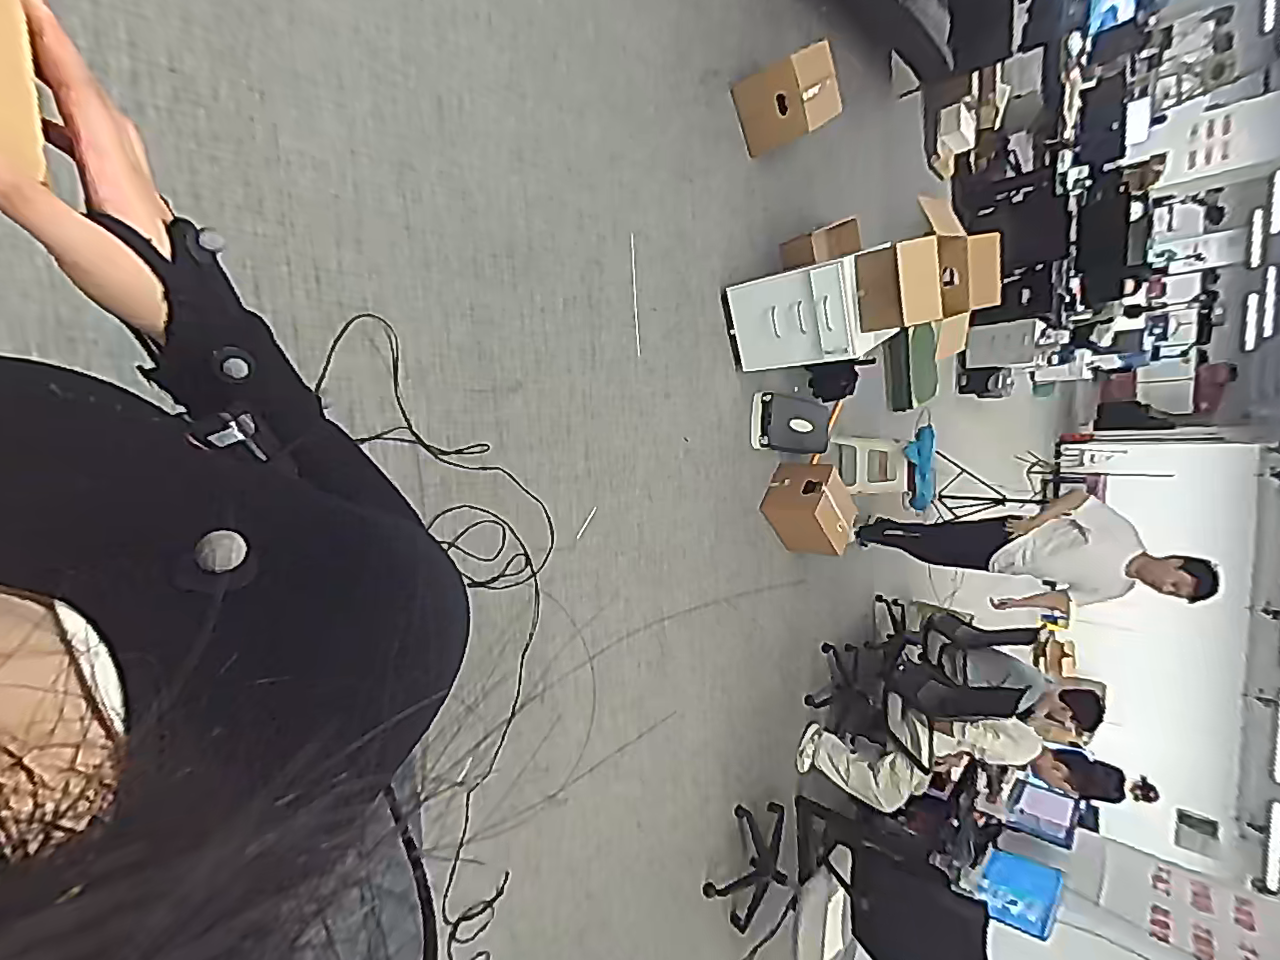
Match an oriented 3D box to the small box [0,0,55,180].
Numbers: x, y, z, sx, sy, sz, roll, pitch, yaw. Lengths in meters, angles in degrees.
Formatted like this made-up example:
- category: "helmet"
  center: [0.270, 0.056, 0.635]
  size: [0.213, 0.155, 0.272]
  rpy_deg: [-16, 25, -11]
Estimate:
- category: "small box"
  center: [-0.372, -0.240, 0.219]
  size: [0.168, 0.176, 0.179]
  rpy_deg: [-11, 118, -49]
